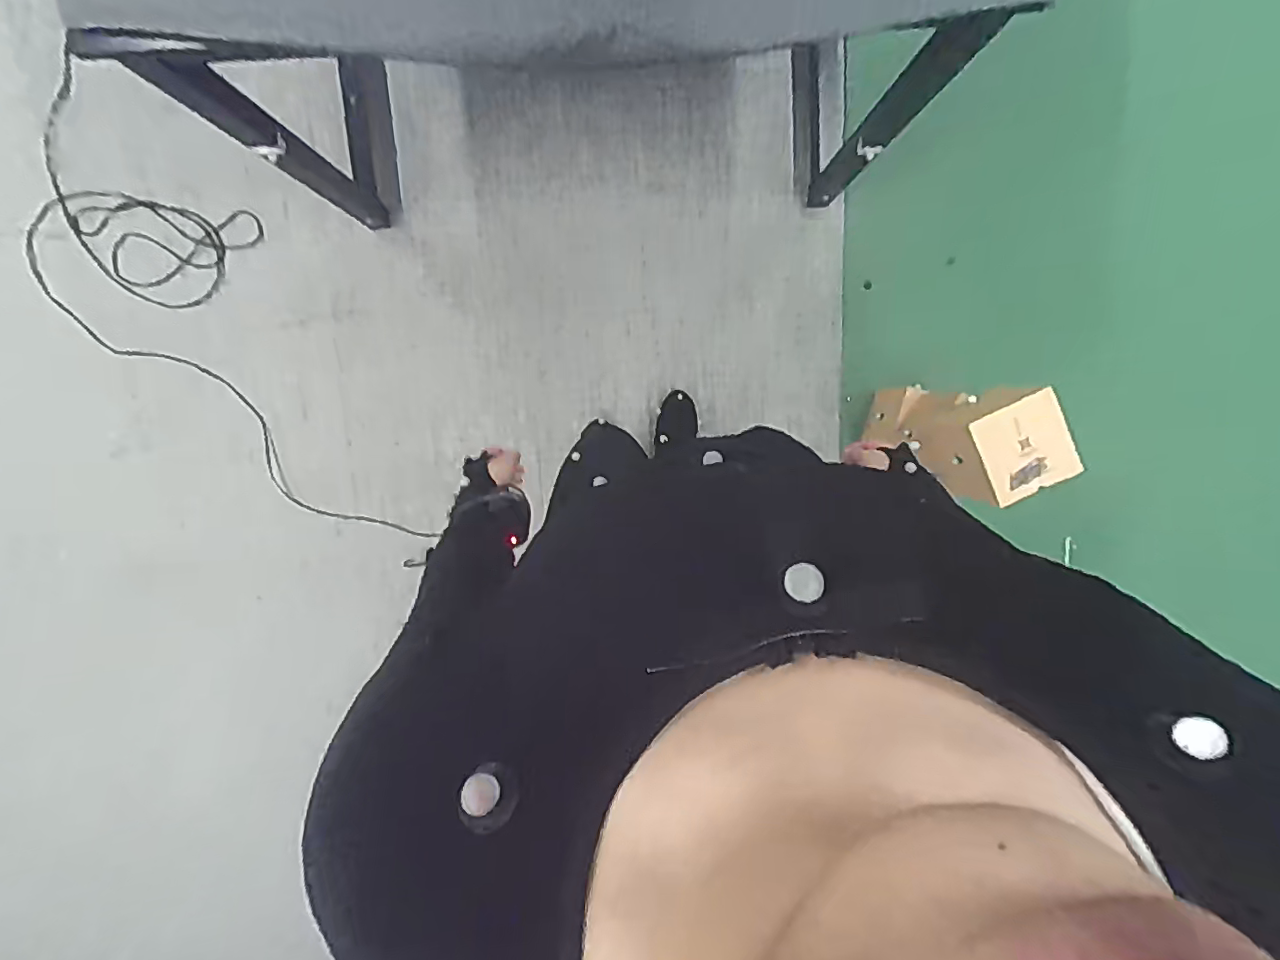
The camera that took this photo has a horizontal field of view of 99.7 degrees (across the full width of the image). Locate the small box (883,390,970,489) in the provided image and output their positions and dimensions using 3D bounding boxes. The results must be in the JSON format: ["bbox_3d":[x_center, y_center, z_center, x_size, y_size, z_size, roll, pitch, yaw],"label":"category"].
[{"bbox_3d":[0.696,-0.087,1.229,0.179,0.176,0.168,34,98,-6],"label":"small box"}]

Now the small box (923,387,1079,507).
[{"bbox_3d":[0.699,-0.072,1.065,0.168,0.176,0.179,-25,97,4],"label":"small box"}]

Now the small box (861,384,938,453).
[{"bbox_3d":[0.698,-0.142,1.385,0.179,0.176,0.168,14,99,-3],"label":"small box"}]
